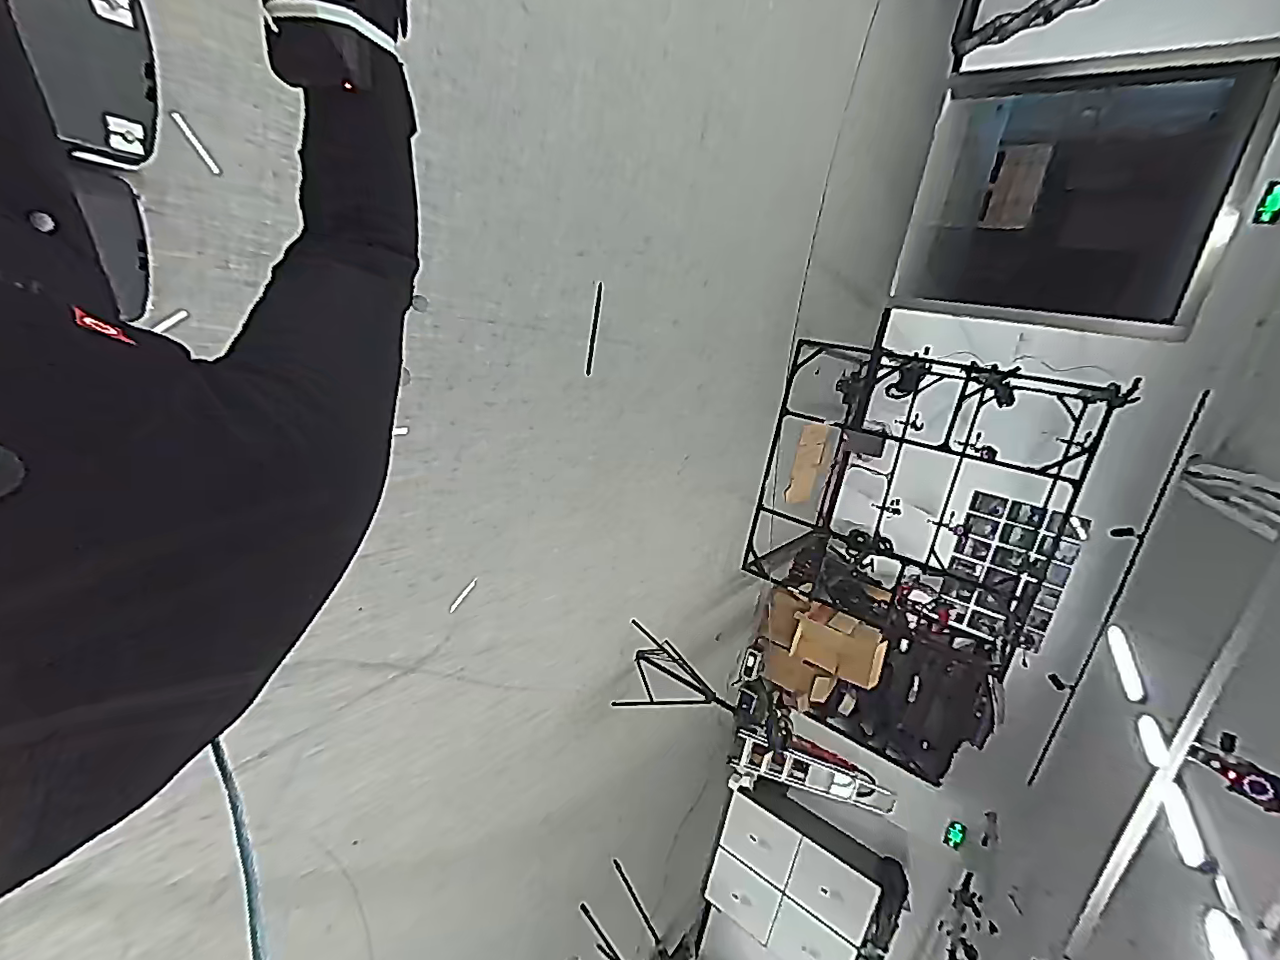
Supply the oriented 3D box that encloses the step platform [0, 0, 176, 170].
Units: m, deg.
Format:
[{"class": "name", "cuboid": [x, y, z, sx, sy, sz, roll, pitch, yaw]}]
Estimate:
[{"class": "step platform", "cuboid": [-1.116, -0.701, 0.776, 0.684, 0.204, 0.286, -14, 118, -54]}]
